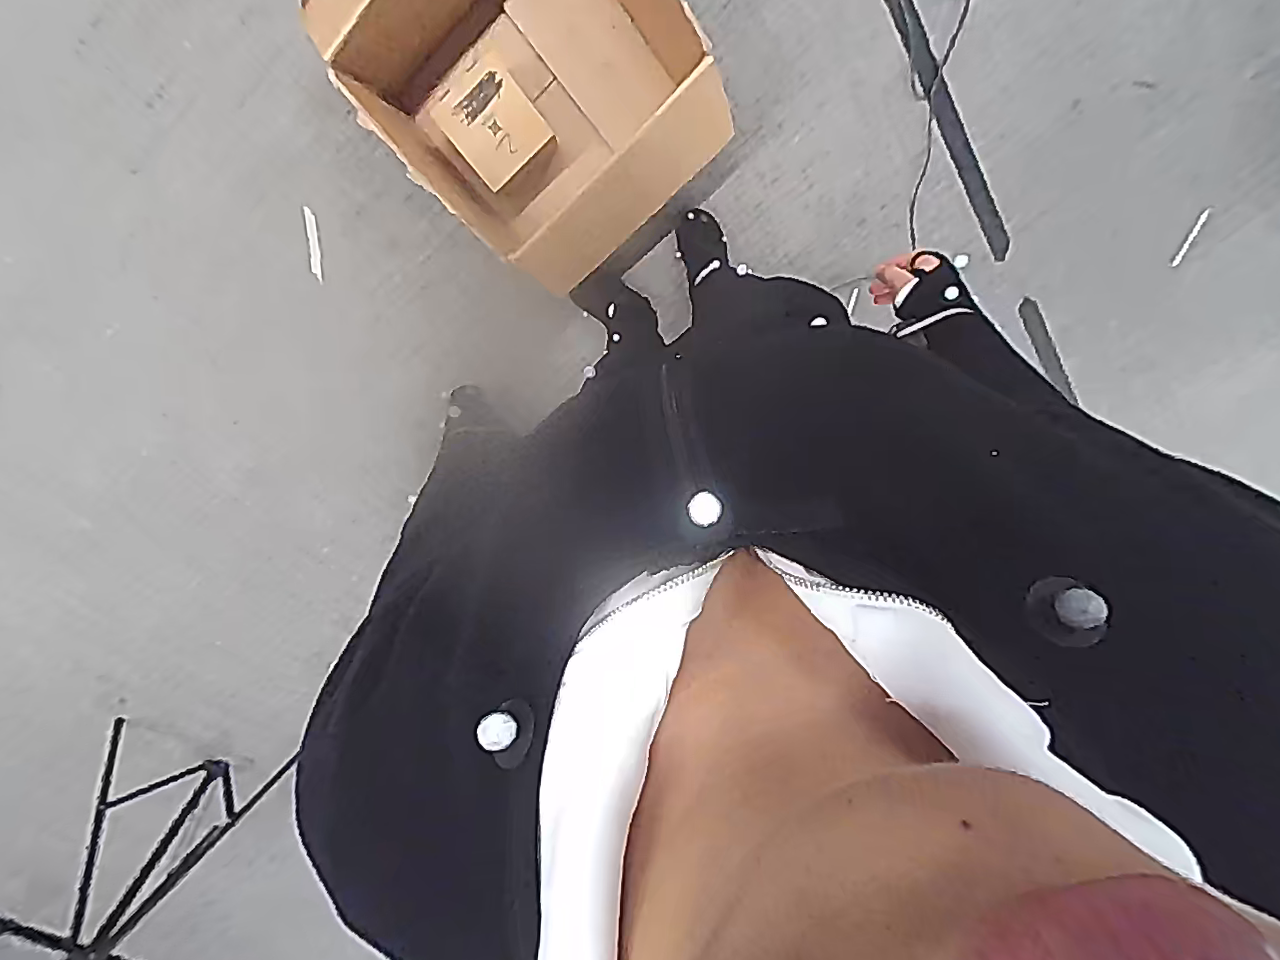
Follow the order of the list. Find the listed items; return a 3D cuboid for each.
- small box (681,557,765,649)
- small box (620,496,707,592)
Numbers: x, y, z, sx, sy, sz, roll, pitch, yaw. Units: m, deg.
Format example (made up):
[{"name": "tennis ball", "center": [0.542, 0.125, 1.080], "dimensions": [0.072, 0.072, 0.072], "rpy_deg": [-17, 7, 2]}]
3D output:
[{"name": "small box", "center": [0.247, 0.366, 1.636], "dimensions": [0.168, 0.176, 0.179], "rpy_deg": [-38, 111, 10]}, {"name": "small box", "center": [0.059, 0.174, 1.527], "dimensions": [0.179, 0.176, 0.168], "rpy_deg": [-35, 115, 9]}]
